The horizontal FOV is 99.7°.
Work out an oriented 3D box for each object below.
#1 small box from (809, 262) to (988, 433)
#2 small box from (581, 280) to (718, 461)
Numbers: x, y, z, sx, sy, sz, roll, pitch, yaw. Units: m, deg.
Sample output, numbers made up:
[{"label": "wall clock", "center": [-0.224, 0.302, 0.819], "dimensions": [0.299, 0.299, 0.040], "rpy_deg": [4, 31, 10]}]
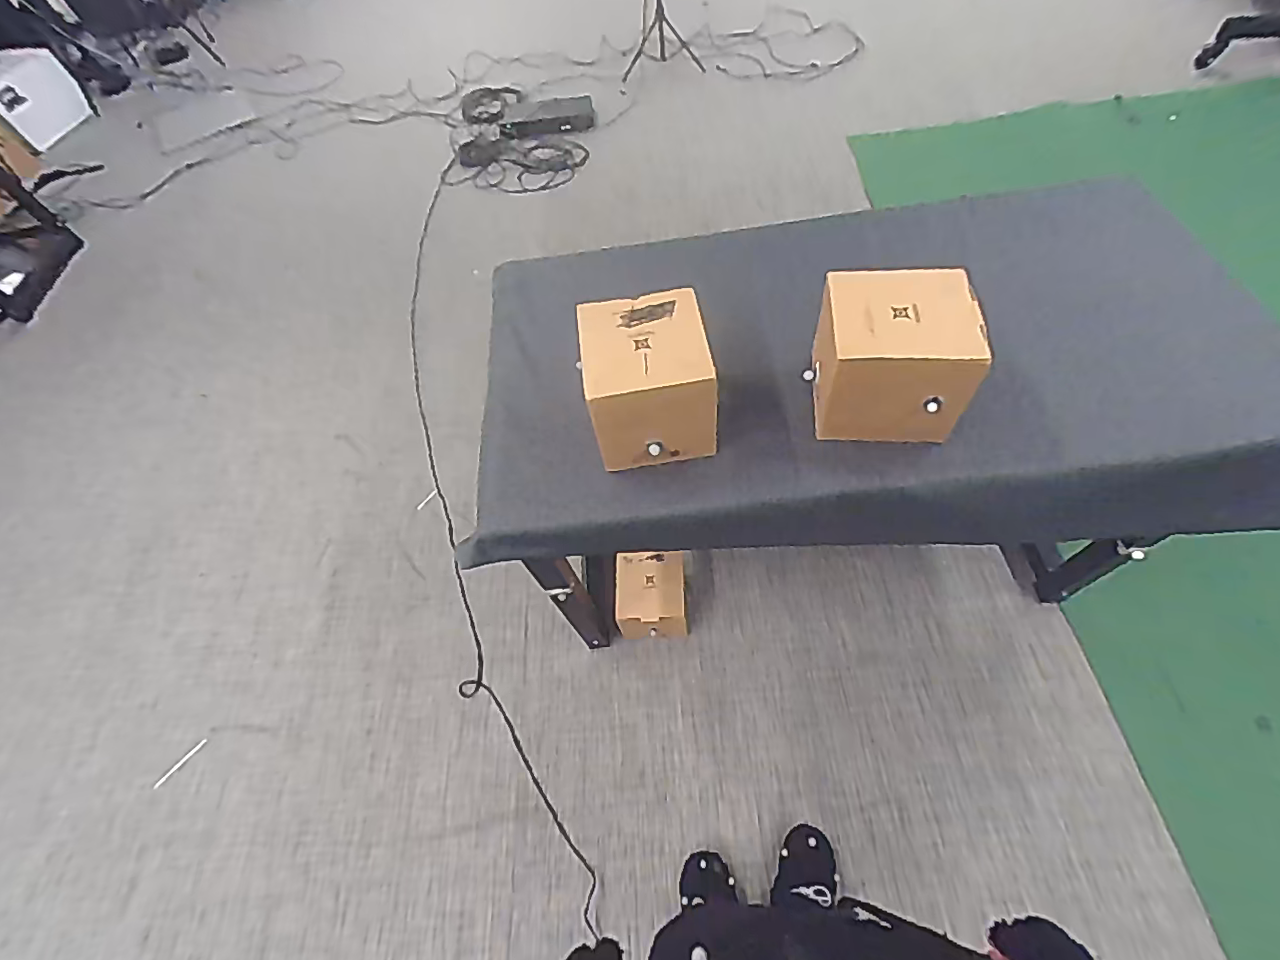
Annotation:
[{"label": "small box", "center": [0.341, -0.178, 0.753], "dimensions": [0.179, 0.176, 0.168], "rpy_deg": [1, 58, 9]}, {"label": "small box", "center": [0.013, -0.152, 0.774], "dimensions": [0.168, 0.176, 0.179], "rpy_deg": [-9, 58, 2]}]
